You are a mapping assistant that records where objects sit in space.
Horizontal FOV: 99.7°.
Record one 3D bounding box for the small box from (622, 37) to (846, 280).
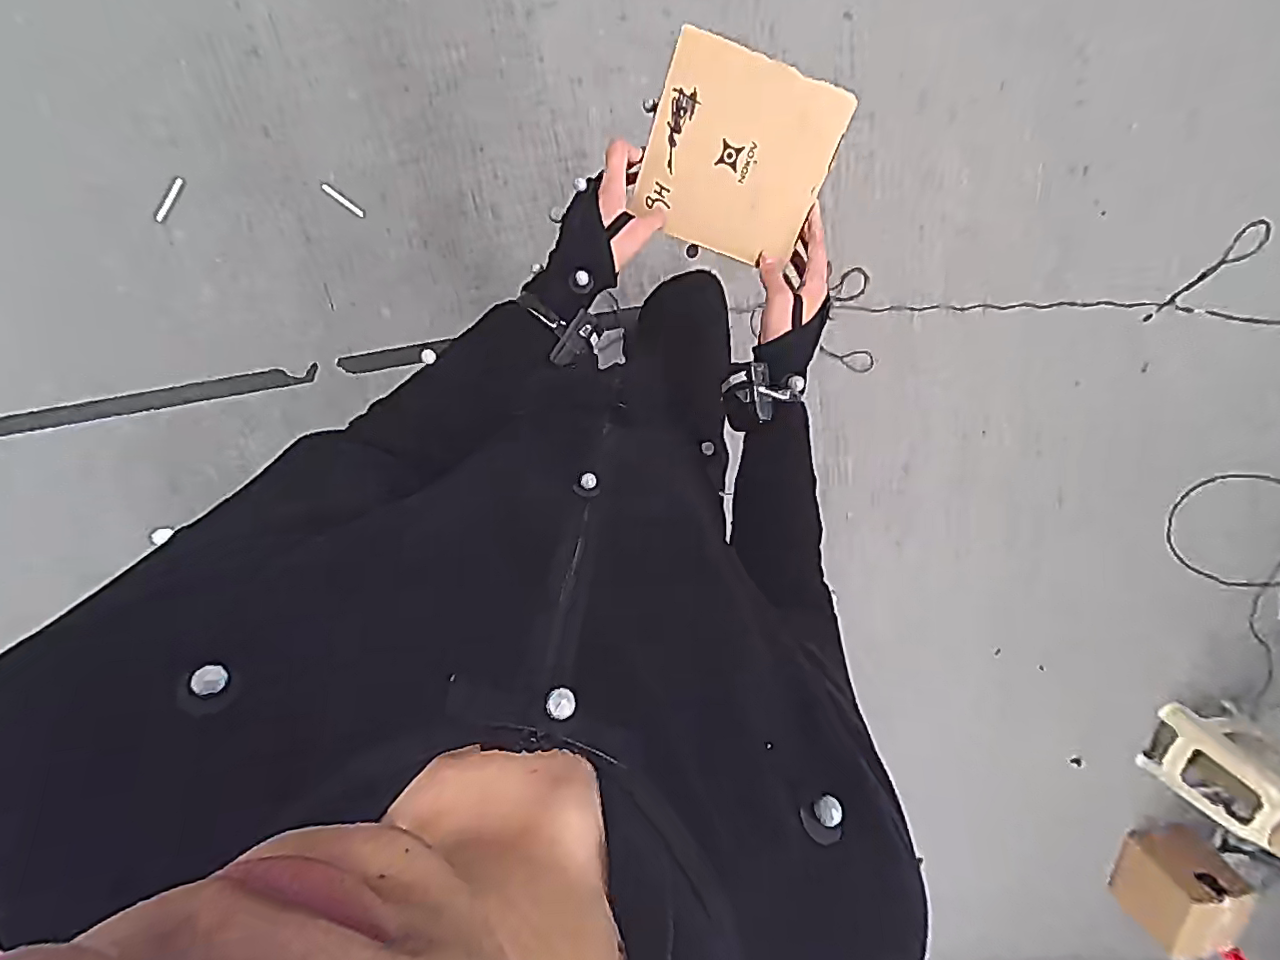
[{"bbox_3d":[0.089,-0.343,0.602,0.179,0.176,0.168,17,116,-8],"label":"small box"}]
